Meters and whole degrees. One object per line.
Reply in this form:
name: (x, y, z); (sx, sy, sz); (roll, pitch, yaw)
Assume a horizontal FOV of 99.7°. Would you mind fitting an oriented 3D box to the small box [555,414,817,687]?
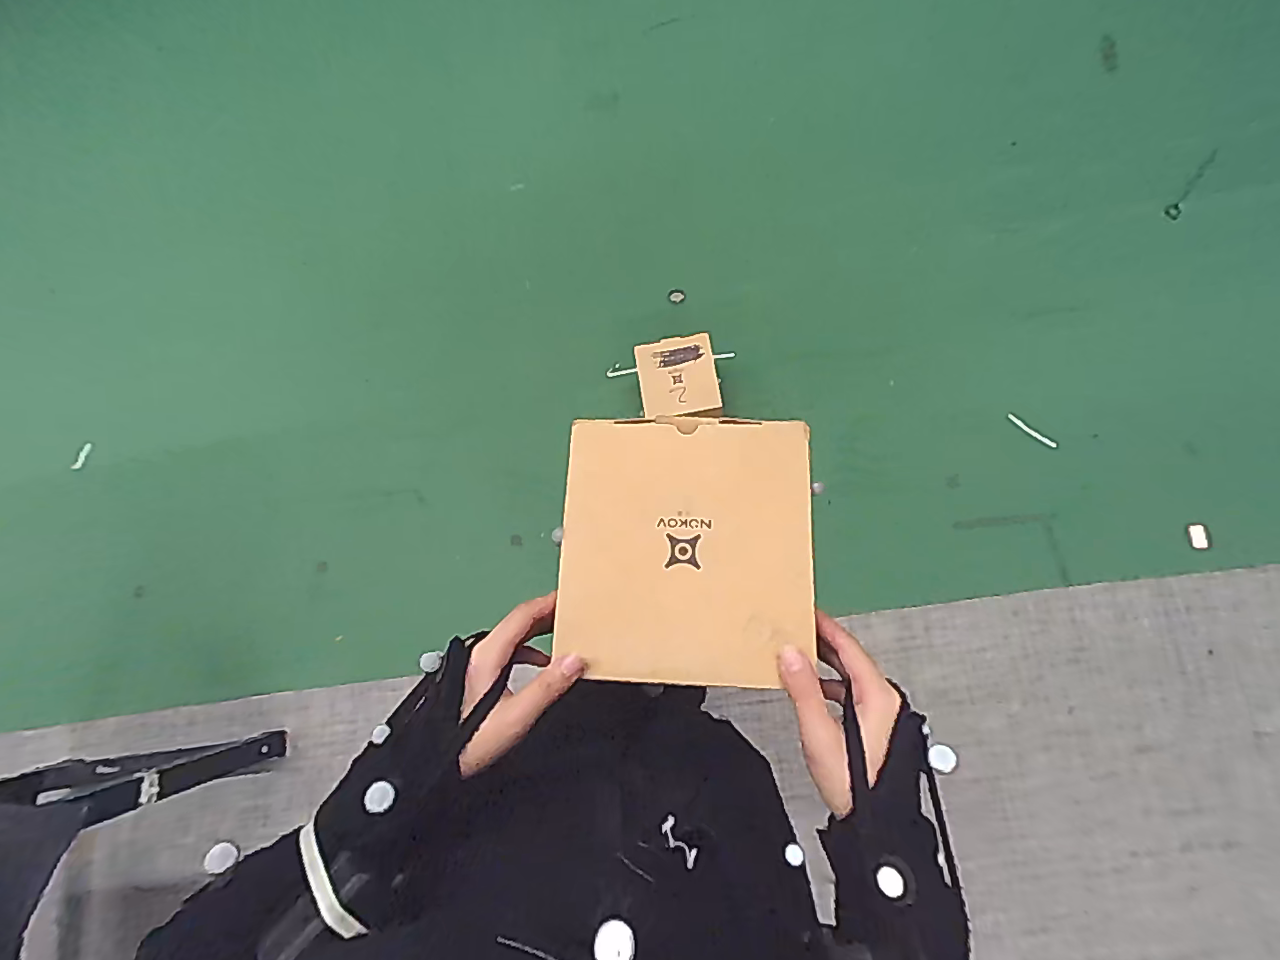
small box: (0.039, 0.059, 0.430); (0.168, 0.176, 0.179); (1, 74, 6)
